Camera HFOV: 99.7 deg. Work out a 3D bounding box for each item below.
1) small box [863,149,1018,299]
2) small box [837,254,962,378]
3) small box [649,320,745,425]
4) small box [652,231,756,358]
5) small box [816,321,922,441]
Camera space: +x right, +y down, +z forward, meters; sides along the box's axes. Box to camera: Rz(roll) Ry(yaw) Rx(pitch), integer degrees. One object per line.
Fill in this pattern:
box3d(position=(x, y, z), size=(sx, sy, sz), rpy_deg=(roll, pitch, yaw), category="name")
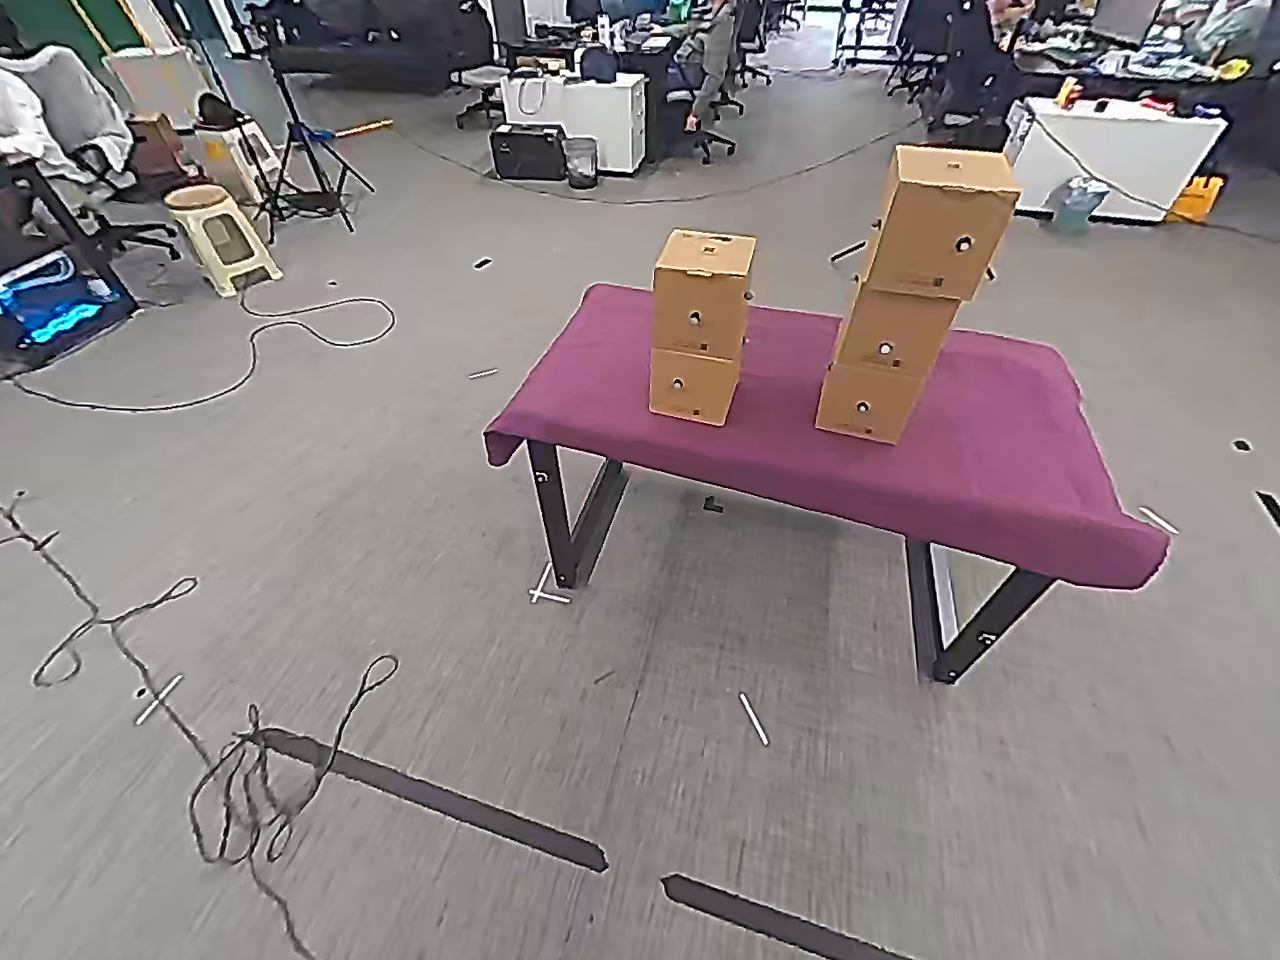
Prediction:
box3d(position=(0.473, -0.415, 0.881), size=(0.168, 0.176, 0.179), rpy_deg=(12, 47, 10), category="small box")
box3d(position=(0.478, -0.320, 1.014), size=(0.168, 0.176, 0.179), rpy_deg=(13, 49, 13), category="small box")
box3d(position=(0.123, -0.241, 1.168), size=(0.168, 0.176, 0.179), rpy_deg=(13, 47, 11), category="small box")
box3d(position=(0.123, -0.360, 1.054), size=(0.168, 0.176, 0.179), rpy_deg=(11, 47, 10), category="small box")
box3d(position=(0.475, -0.205, 1.131), size=(0.168, 0.176, 0.179), rpy_deg=(14, 48, 13), category="small box")
